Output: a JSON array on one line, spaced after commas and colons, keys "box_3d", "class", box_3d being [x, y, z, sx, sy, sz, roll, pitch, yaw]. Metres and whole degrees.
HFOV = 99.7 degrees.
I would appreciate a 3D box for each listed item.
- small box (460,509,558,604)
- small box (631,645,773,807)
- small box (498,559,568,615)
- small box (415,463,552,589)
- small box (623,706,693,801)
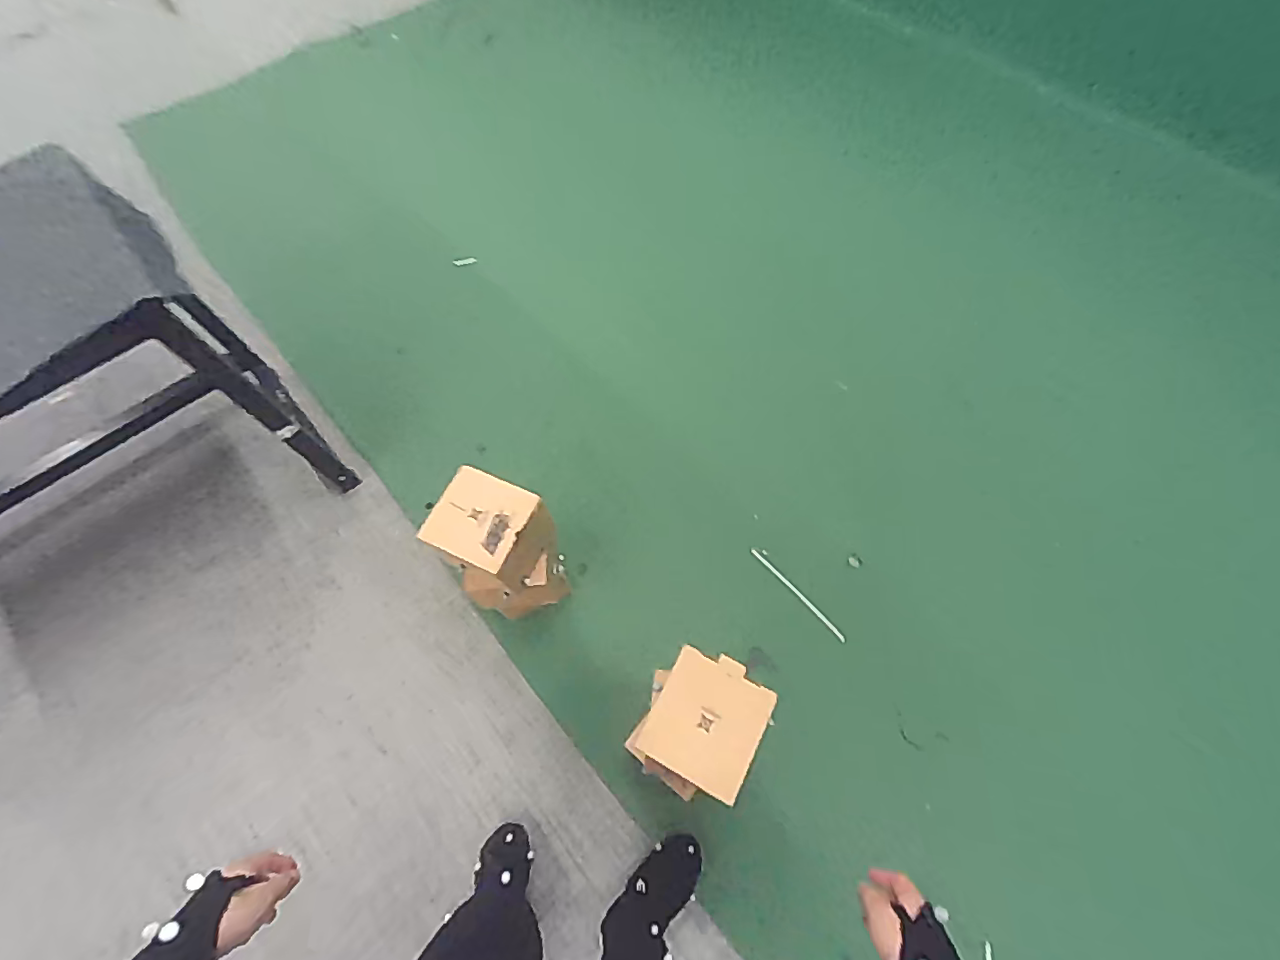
[{"box_3d": [-0.283, 0.175, 1.203, 0.179, 0.176, 0.168, -5, 66, -1], "class": "small box"}, {"box_3d": [0.100, 0.404, 0.899, 0.168, 0.176, 0.179, 26, 68, 13], "class": "small box"}, {"box_3d": [-0.296, 0.221, 1.362, 0.179, 0.176, 0.168, -23, 67, -10], "class": "small box"}, {"box_3d": [-0.293, 0.098, 1.058, 0.179, 0.176, 0.168, 23, 68, 13], "class": "small box"}, {"box_3d": [0.078, 0.563, 1.187, 0.168, 0.176, 0.179, 36, 69, 17], "class": "small box"}]
